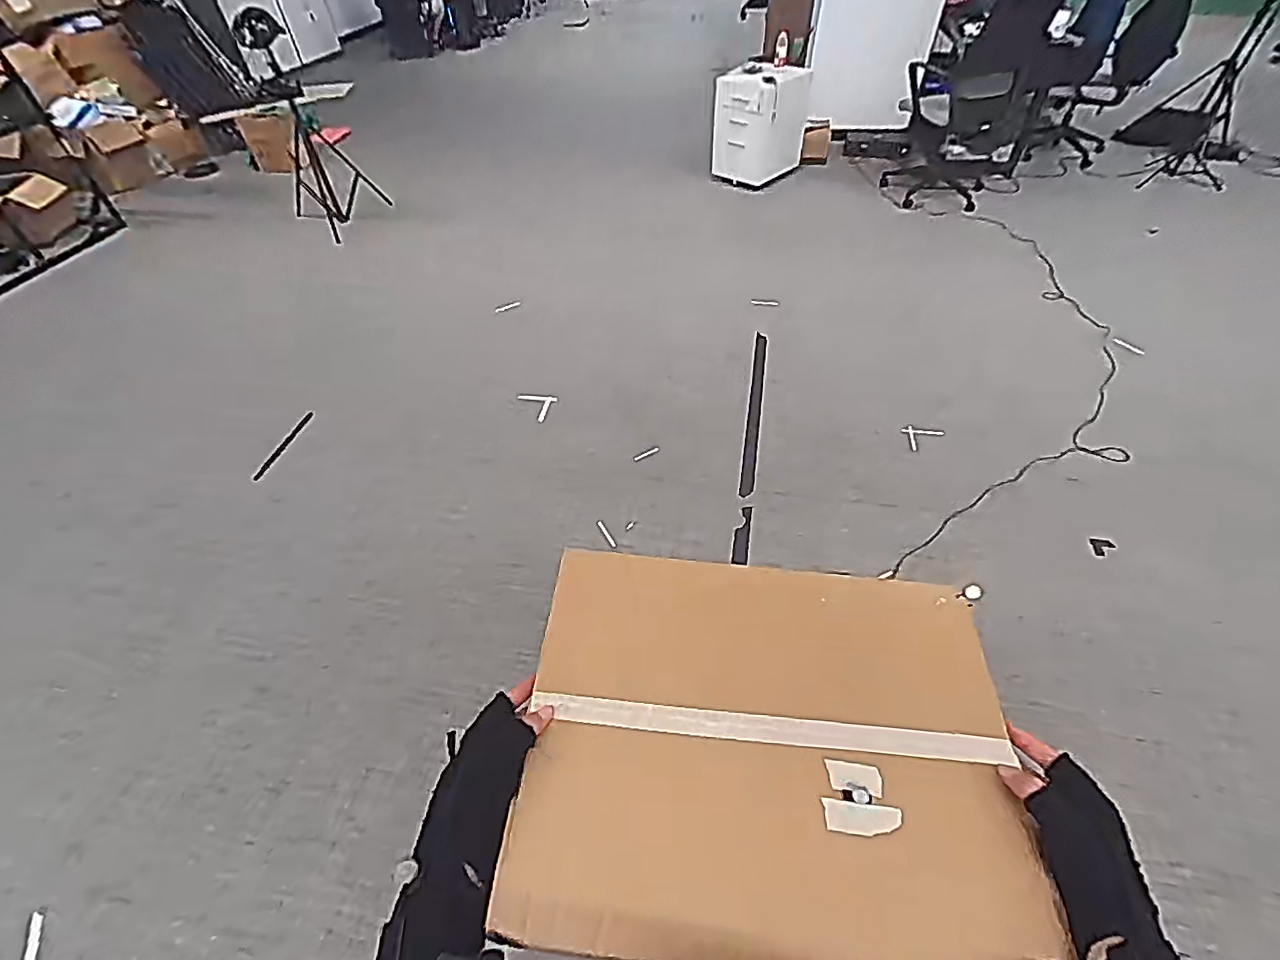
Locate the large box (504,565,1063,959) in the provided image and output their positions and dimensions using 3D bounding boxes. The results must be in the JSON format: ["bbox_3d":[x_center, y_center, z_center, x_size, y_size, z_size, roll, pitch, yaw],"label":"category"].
[{"bbox_3d":[0.106,0.315,0.582,0.408,0.320,0.320,5,52,2],"label":"large box"}]
